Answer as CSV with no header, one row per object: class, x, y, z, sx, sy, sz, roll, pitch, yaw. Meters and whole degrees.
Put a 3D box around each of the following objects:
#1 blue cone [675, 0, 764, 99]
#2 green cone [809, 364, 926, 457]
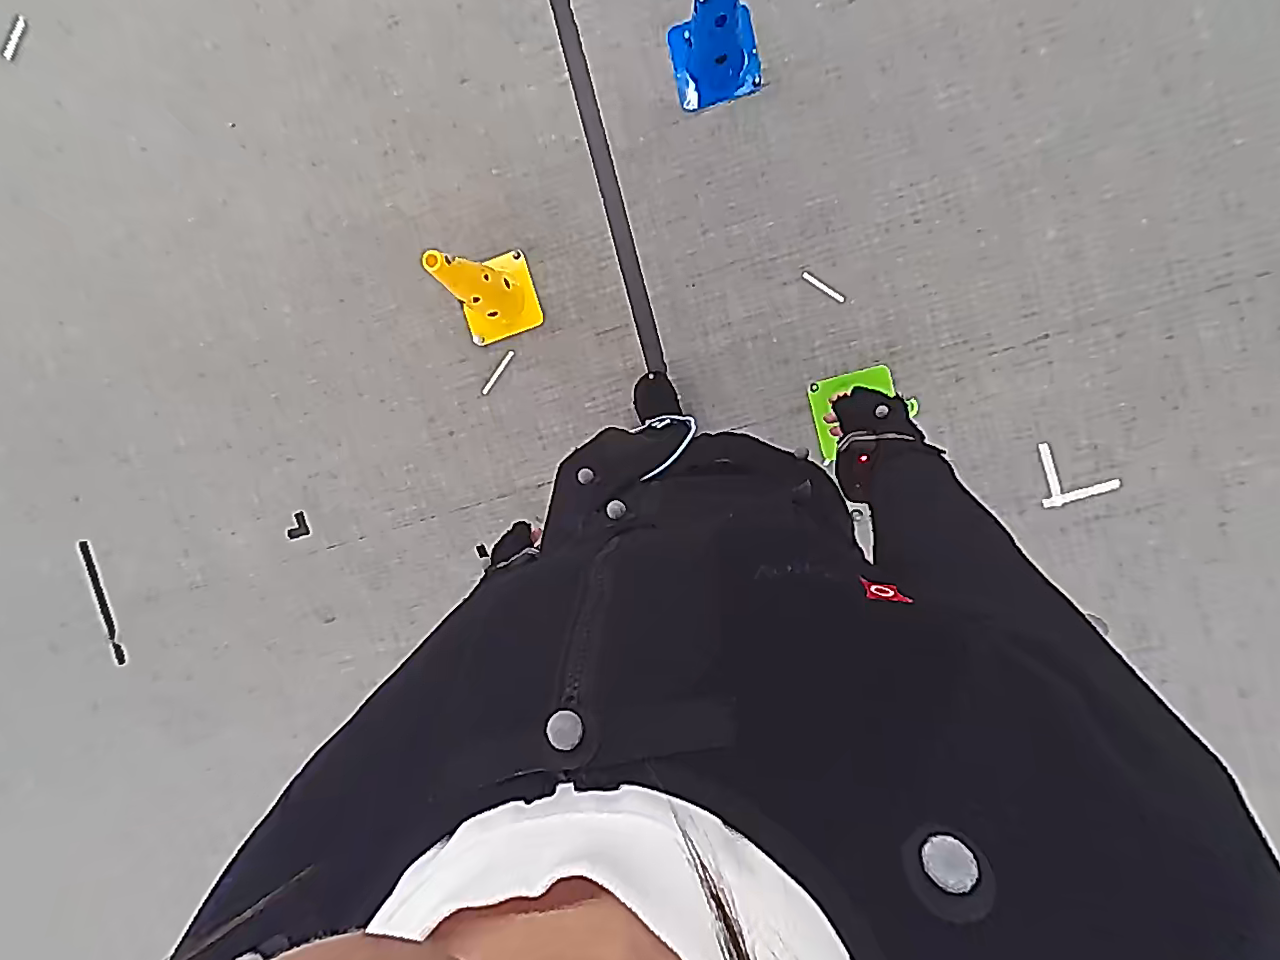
blue cone,0.170,-1.004,1.128,0.192,0.380,0.193,-11,95,7
green cone,0.515,-0.152,1.163,0.202,0.368,0.200,-15,94,7
